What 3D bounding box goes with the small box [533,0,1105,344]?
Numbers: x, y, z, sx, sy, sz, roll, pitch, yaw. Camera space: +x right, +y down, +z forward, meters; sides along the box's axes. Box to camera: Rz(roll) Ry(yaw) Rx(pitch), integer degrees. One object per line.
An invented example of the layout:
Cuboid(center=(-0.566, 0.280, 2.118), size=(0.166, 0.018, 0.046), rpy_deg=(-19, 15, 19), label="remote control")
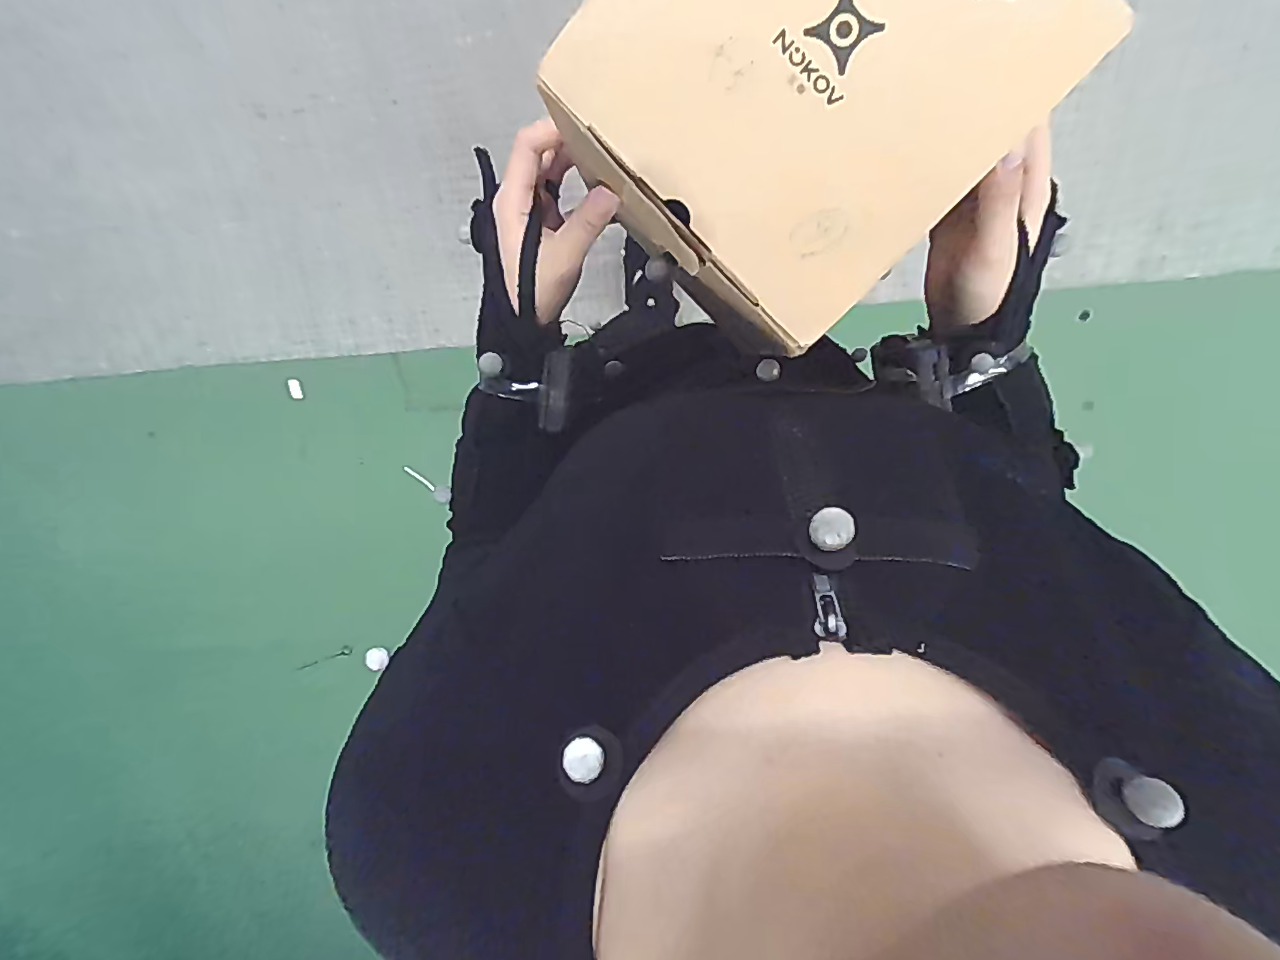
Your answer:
Cuboid(center=(0.075, -0.193, 0.301), size=(0.168, 0.176, 0.179), rpy_deg=(43, 103, -6), label="small box")
